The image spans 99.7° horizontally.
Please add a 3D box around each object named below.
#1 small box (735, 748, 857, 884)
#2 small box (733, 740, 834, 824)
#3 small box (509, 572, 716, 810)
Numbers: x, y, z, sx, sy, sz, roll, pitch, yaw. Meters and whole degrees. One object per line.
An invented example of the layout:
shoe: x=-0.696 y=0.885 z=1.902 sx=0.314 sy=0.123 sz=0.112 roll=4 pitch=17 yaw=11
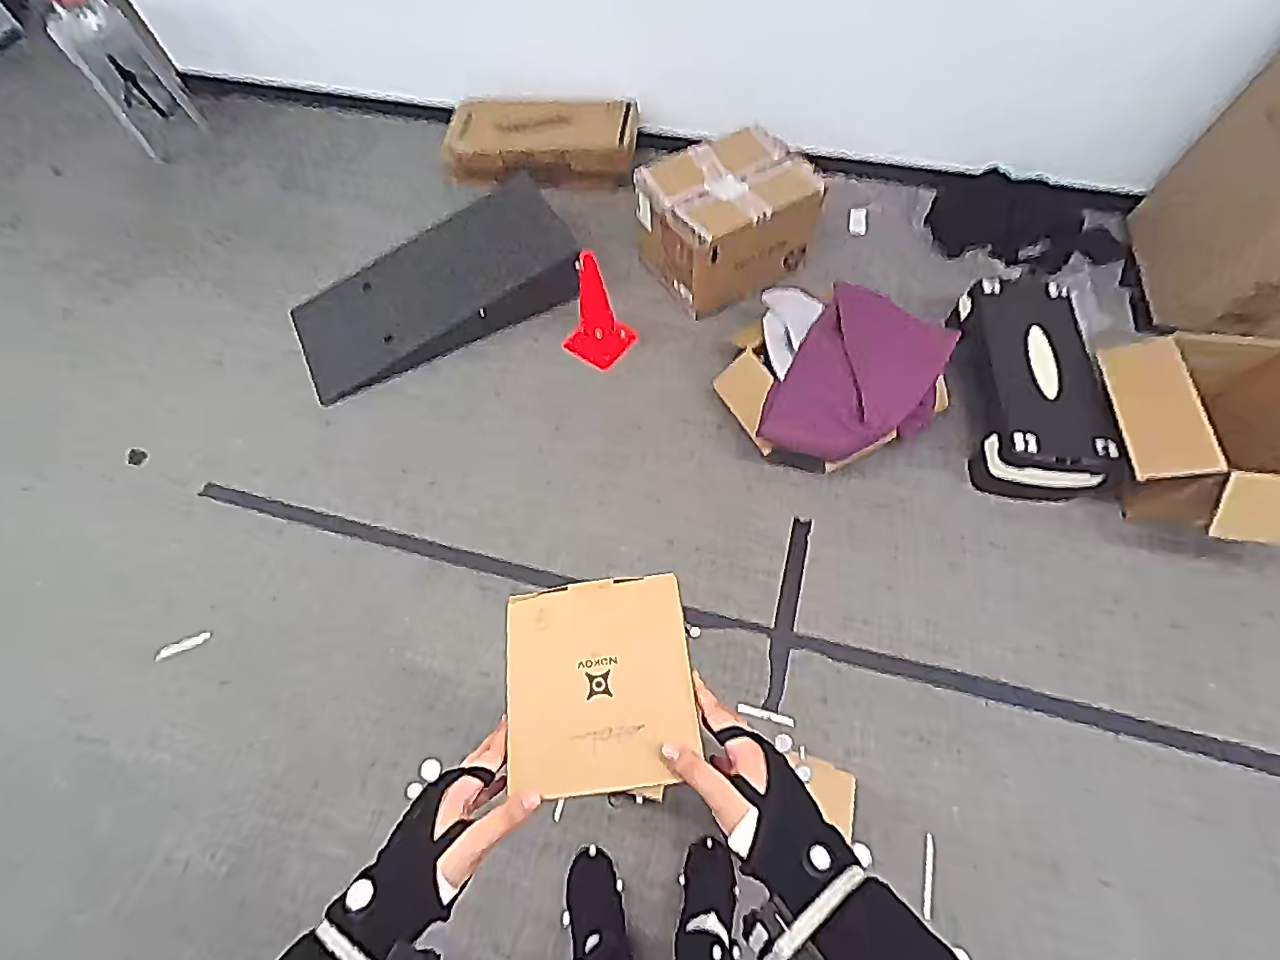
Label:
small box: x=0.281 y=0.611 z=1.002 sx=0.179 sy=0.176 sz=0.168 roll=13 pitch=64 yaw=8
small box: x=0.300 y=0.675 z=1.155 sx=0.168 sy=0.176 sz=0.179 roll=15 pitch=65 yaw=9
small box: x=-0.023 y=0.206 z=0.535 sx=0.168 sy=0.176 sz=0.179 roll=-10 pitch=66 yaw=3
